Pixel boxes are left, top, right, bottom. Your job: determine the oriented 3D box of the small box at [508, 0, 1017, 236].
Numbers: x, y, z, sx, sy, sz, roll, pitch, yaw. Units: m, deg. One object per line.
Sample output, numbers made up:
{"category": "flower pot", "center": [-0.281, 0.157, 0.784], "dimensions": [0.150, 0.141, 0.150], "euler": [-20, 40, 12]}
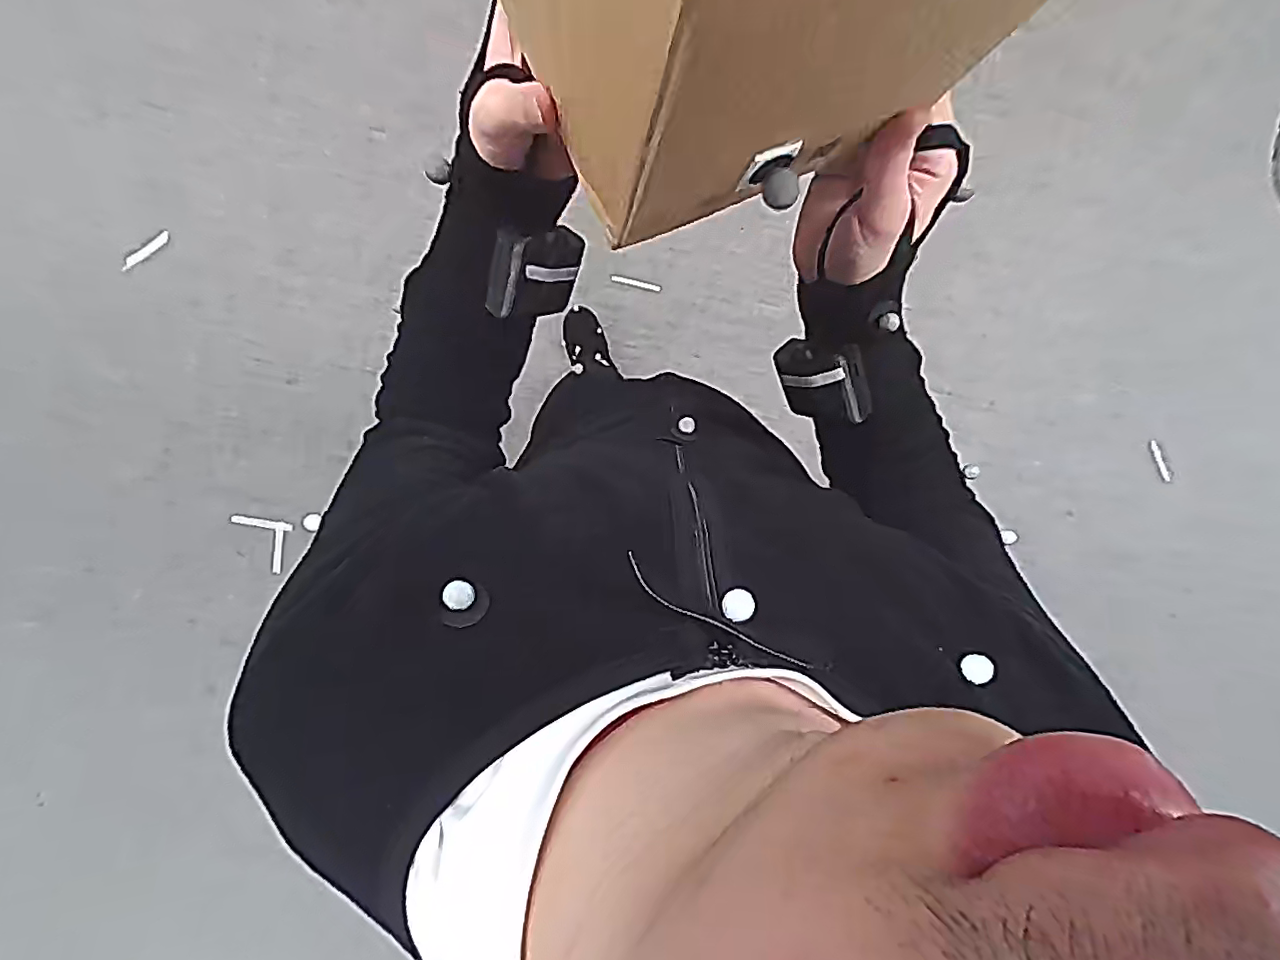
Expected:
{"category": "small box", "center": [0.036, -0.224, 0.189], "dimensions": [0.168, 0.176, 0.179], "euler": [-26, 97, -5]}
